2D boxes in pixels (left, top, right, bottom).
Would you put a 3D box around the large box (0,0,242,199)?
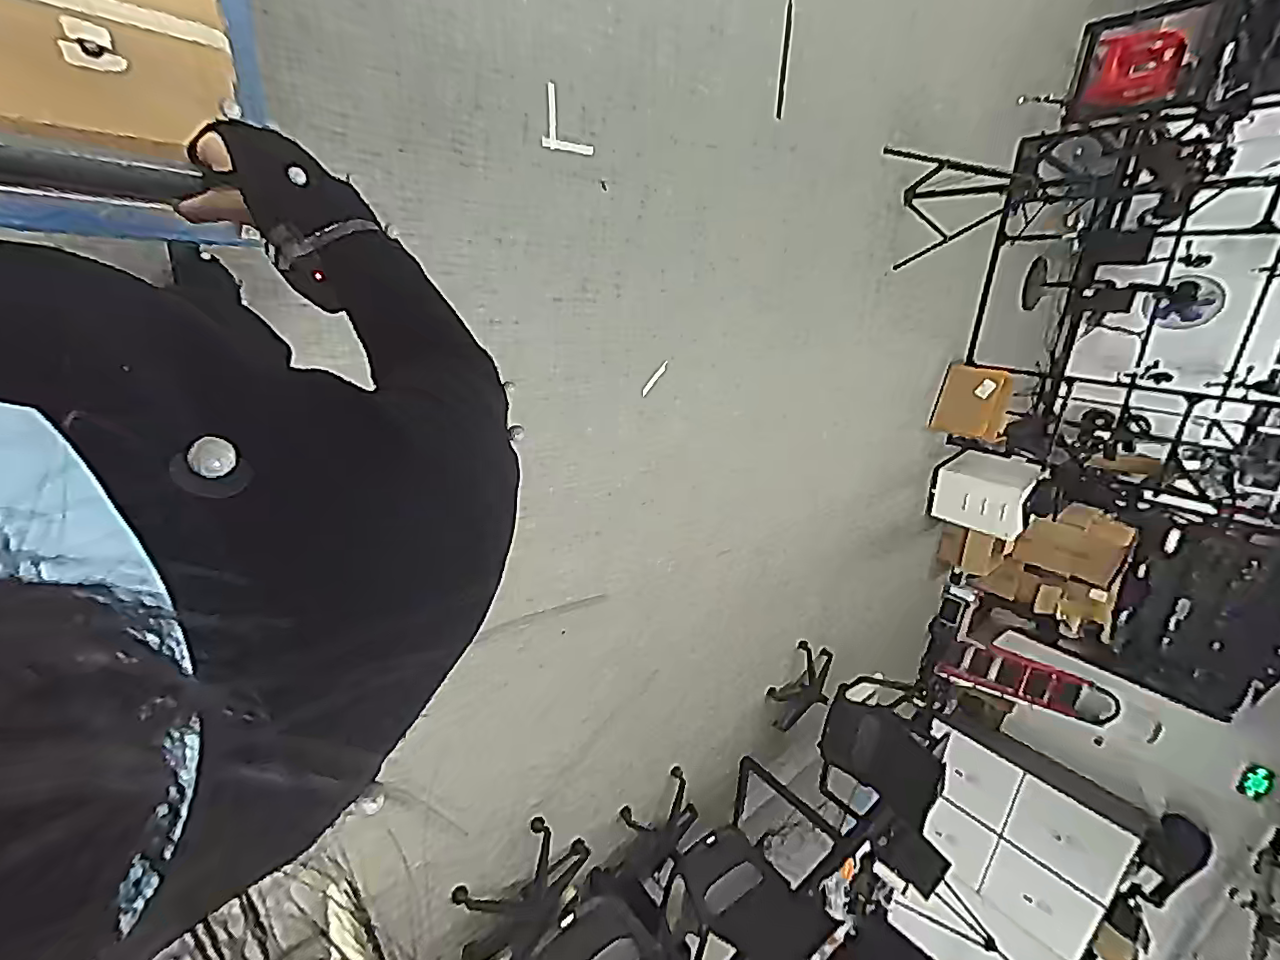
[{"bbox_3d":[-0.802,-0.573,0.693,0.408,0.320,0.320,-13,114,-40],"label":"large box"}]
